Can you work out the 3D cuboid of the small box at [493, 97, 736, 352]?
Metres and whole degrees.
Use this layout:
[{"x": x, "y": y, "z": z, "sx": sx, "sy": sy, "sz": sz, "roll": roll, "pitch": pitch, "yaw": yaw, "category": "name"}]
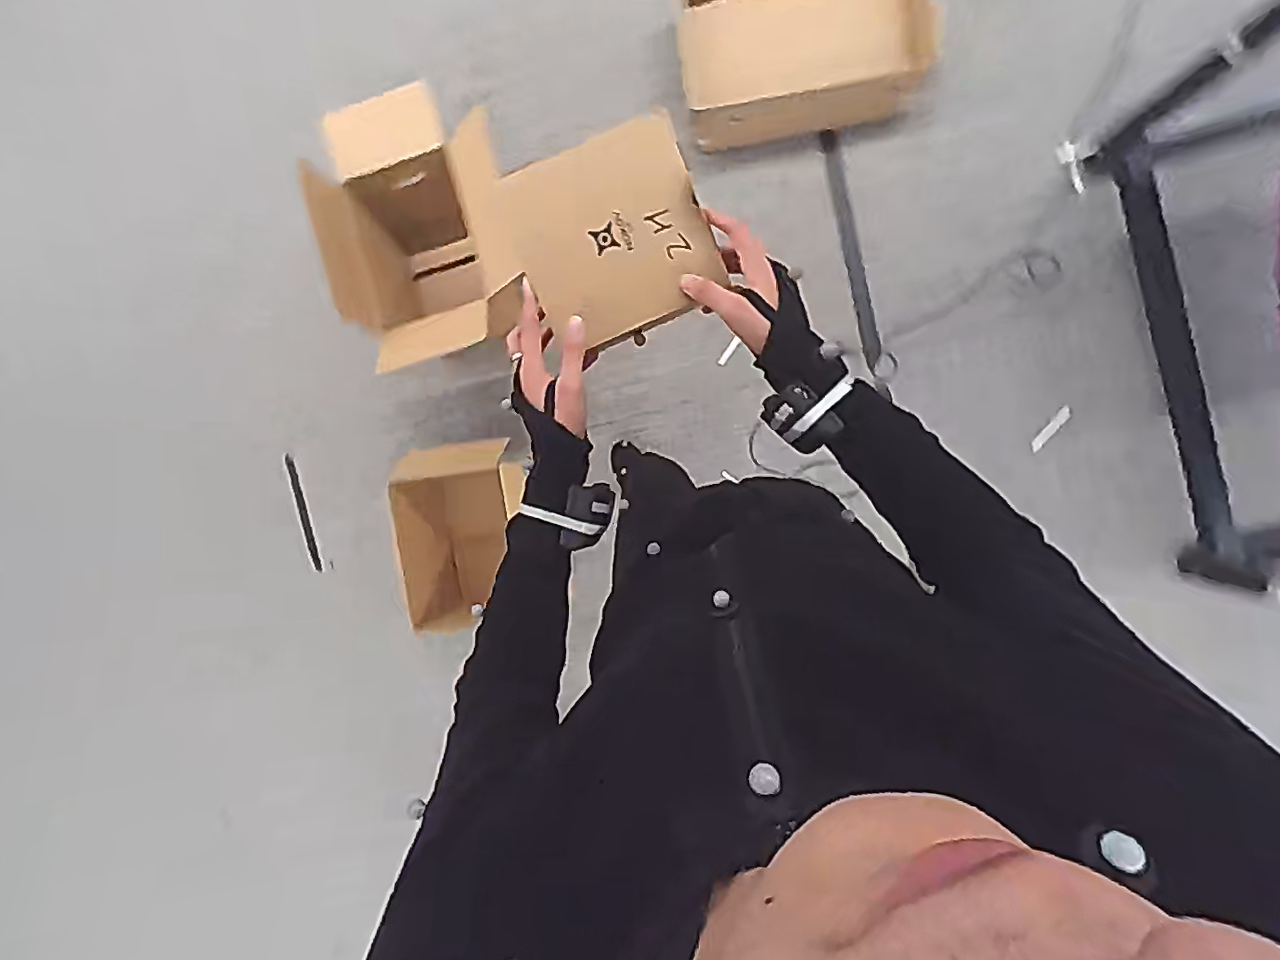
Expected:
[{"x": -0.024, "y": -0.240, "z": 0.559, "sx": 0.179, "sy": 0.176, "sz": 0.168, "roll": -23, "pitch": 103, "yaw": 0, "category": "small box"}]
